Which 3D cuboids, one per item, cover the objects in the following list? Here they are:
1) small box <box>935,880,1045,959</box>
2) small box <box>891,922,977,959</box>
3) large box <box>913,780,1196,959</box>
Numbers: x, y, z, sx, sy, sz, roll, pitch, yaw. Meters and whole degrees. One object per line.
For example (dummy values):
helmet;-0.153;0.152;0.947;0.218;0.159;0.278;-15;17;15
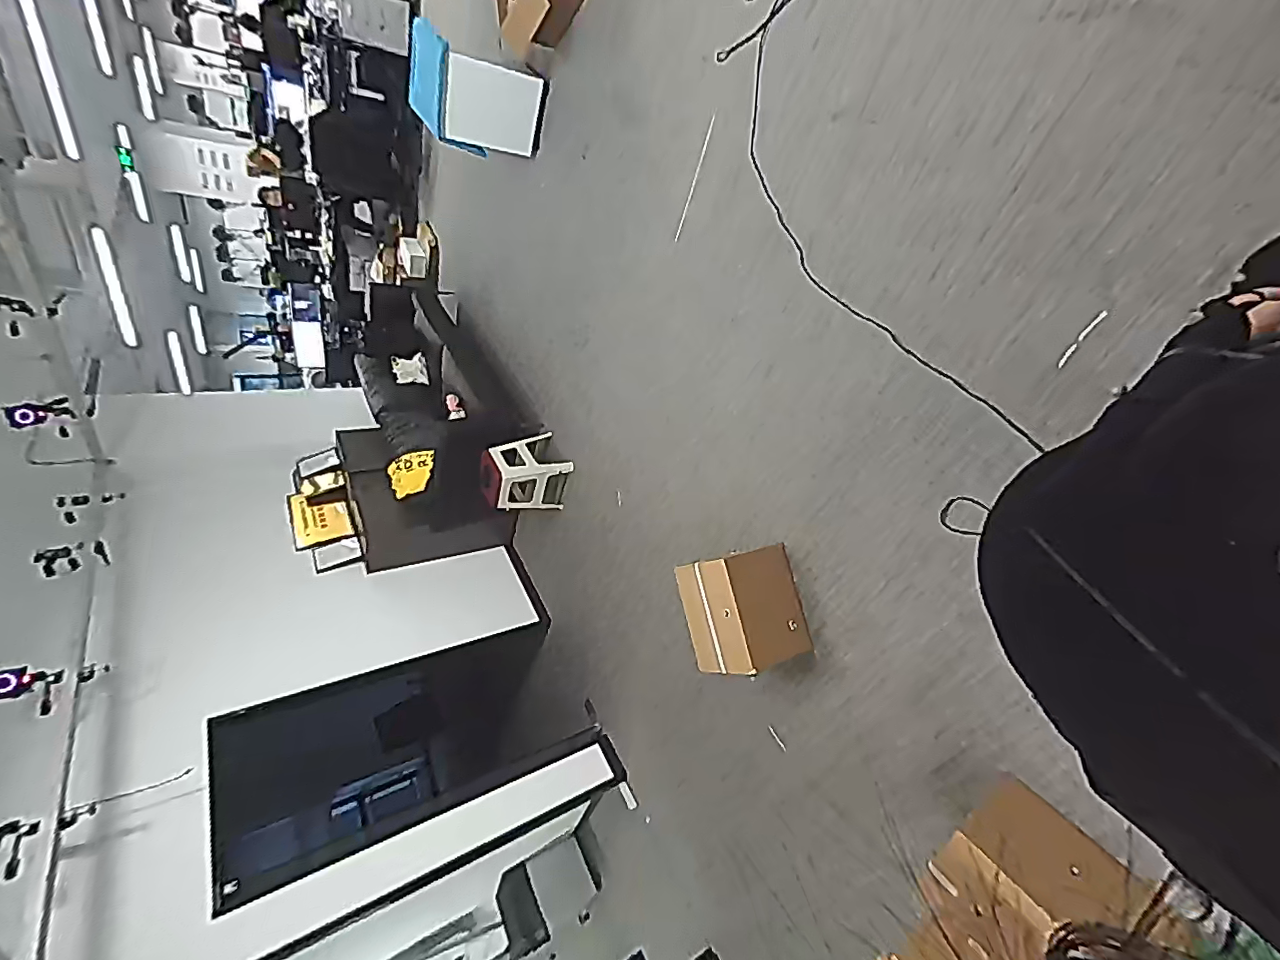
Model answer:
small box;0.749;1.040;1.193;0.168;0.176;0.179;41;129;45
small box;0.611;1.060;1.105;0.179;0.176;0.168;39;127;45
large box;0.971;1.042;1.305;0.408;0.320;0.320;39;128;44
